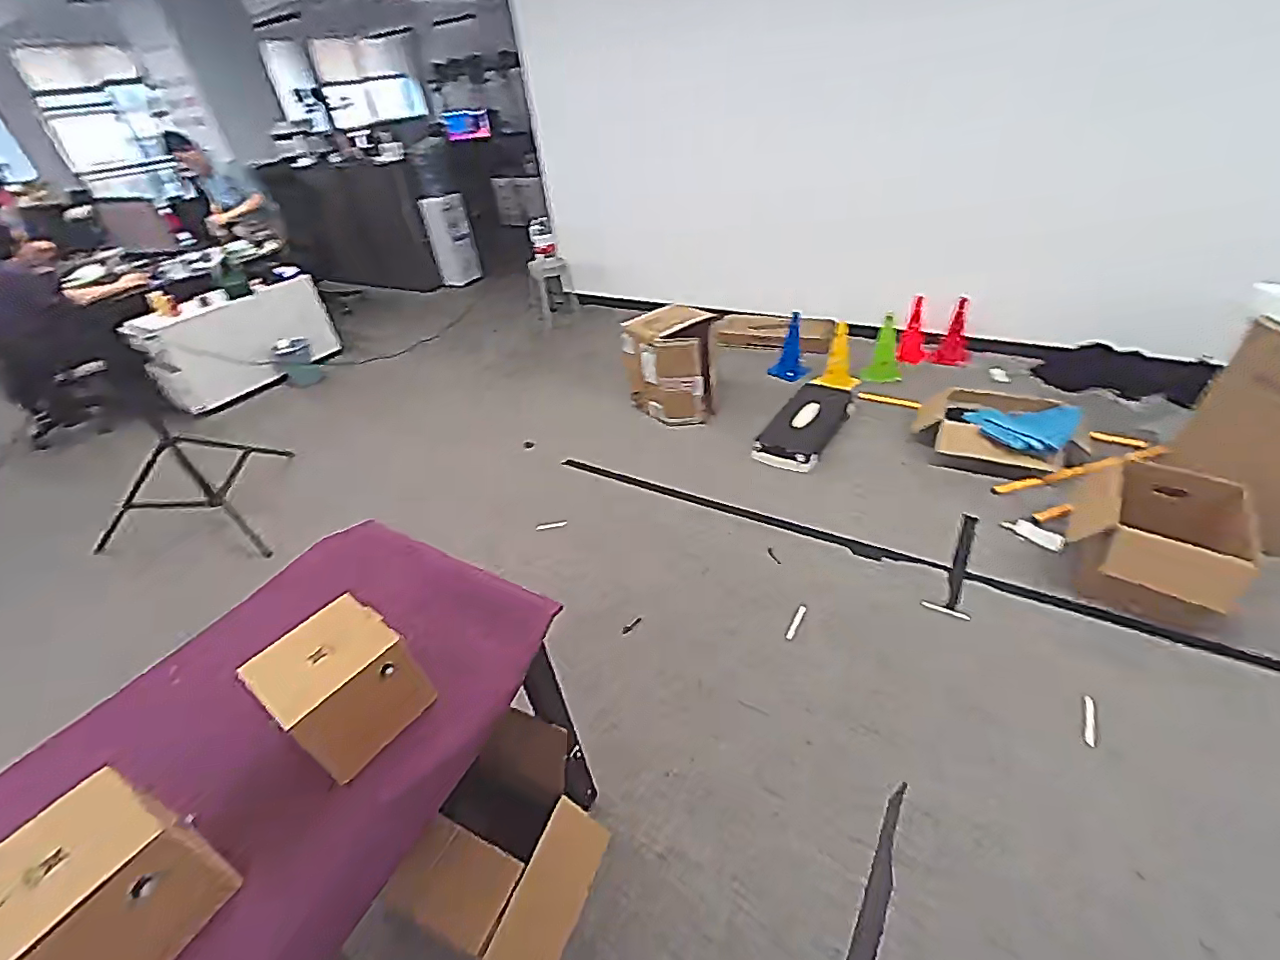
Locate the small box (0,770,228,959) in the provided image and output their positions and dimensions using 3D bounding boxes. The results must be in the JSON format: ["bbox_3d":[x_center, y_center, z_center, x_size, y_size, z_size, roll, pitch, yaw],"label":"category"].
[{"bbox_3d":[-0.634,0.493,0.634,0.168,0.176,0.179,12,41,28],"label":"small box"}]

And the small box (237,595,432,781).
[{"bbox_3d":[-0.459,0.319,0.836,0.168,0.176,0.179,20,44,31],"label":"small box"}]
